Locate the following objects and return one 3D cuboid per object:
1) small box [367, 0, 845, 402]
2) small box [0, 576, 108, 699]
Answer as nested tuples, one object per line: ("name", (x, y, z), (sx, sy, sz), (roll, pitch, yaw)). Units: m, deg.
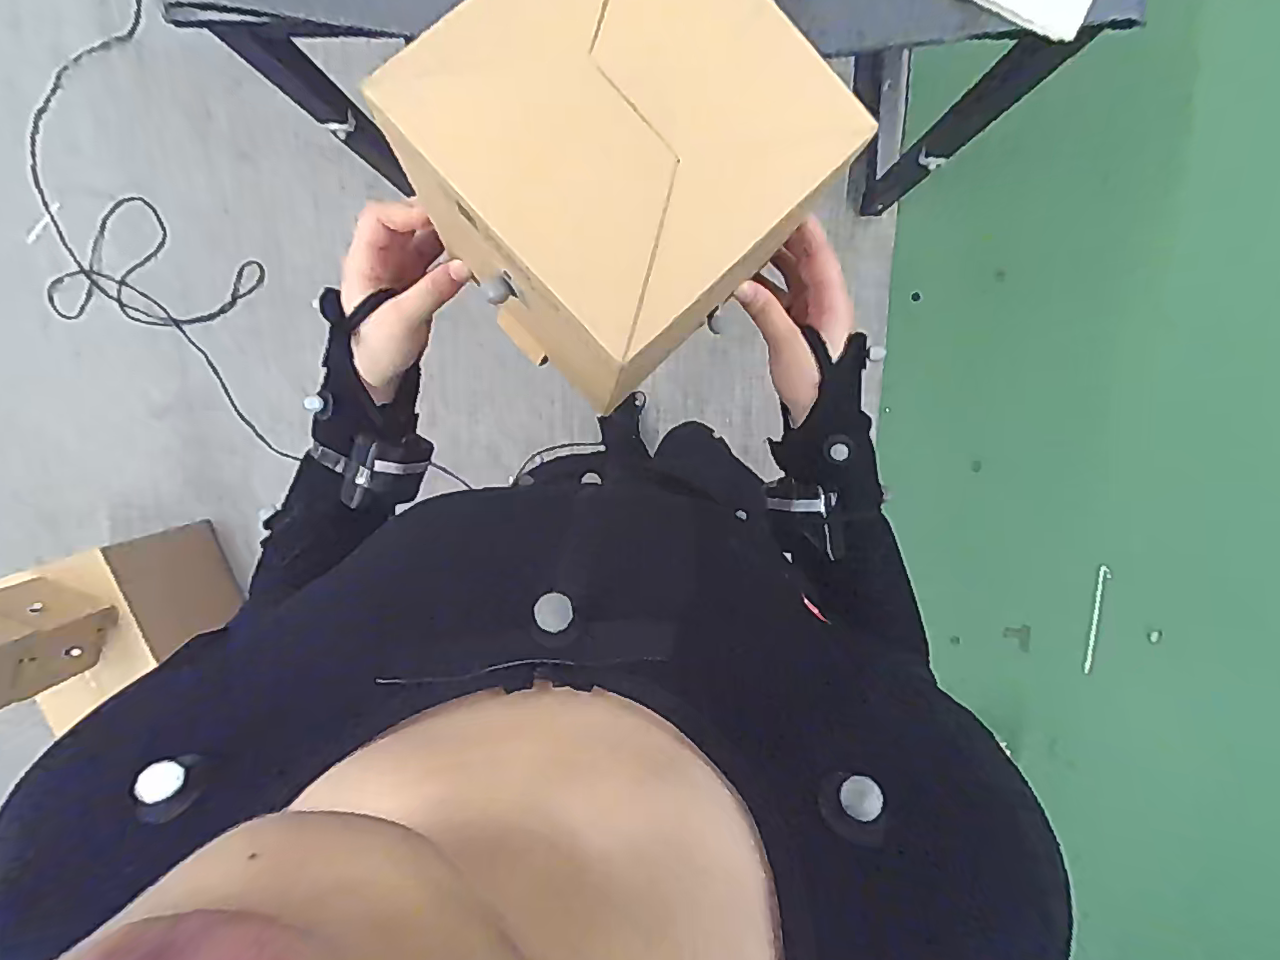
("small box", (-0.017, -0.173, 0.325), (0.179, 0.176, 0.168), (-44, 94, -6))
("small box", (-1.306, 0.325, 1.149), (0.179, 0.176, 0.168), (22, 97, -5))
